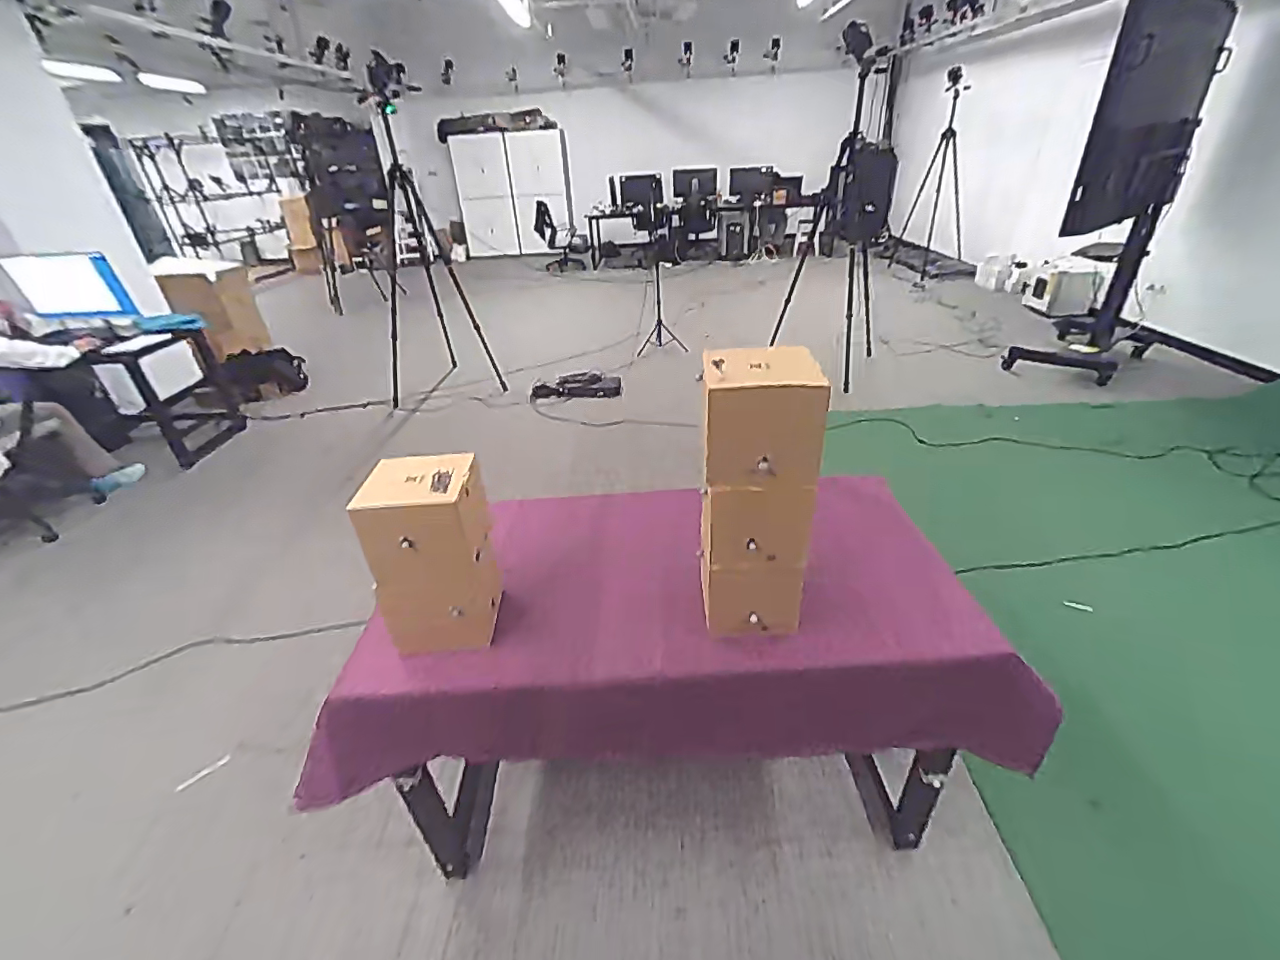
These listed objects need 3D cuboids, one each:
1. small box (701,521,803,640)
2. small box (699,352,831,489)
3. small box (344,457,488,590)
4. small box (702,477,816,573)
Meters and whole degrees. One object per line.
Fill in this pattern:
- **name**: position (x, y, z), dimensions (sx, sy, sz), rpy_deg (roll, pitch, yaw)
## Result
- **small box**: position (0.203, 0.183, 1.036), dimensions (0.168, 0.176, 0.179), rpy_deg (-3, 31, 3)
- **small box**: position (0.186, -0.096, 0.865), dimensions (0.179, 0.176, 0.168), rpy_deg (0, 32, 4)
- **small box**: position (-0.379, 0.076, 0.956), dimensions (0.179, 0.176, 0.168), rpy_deg (-4, 31, -2)
- **small box**: position (0.197, 0.044, 0.952), dimensions (0.168, 0.176, 0.179), rpy_deg (-2, 32, 3)
